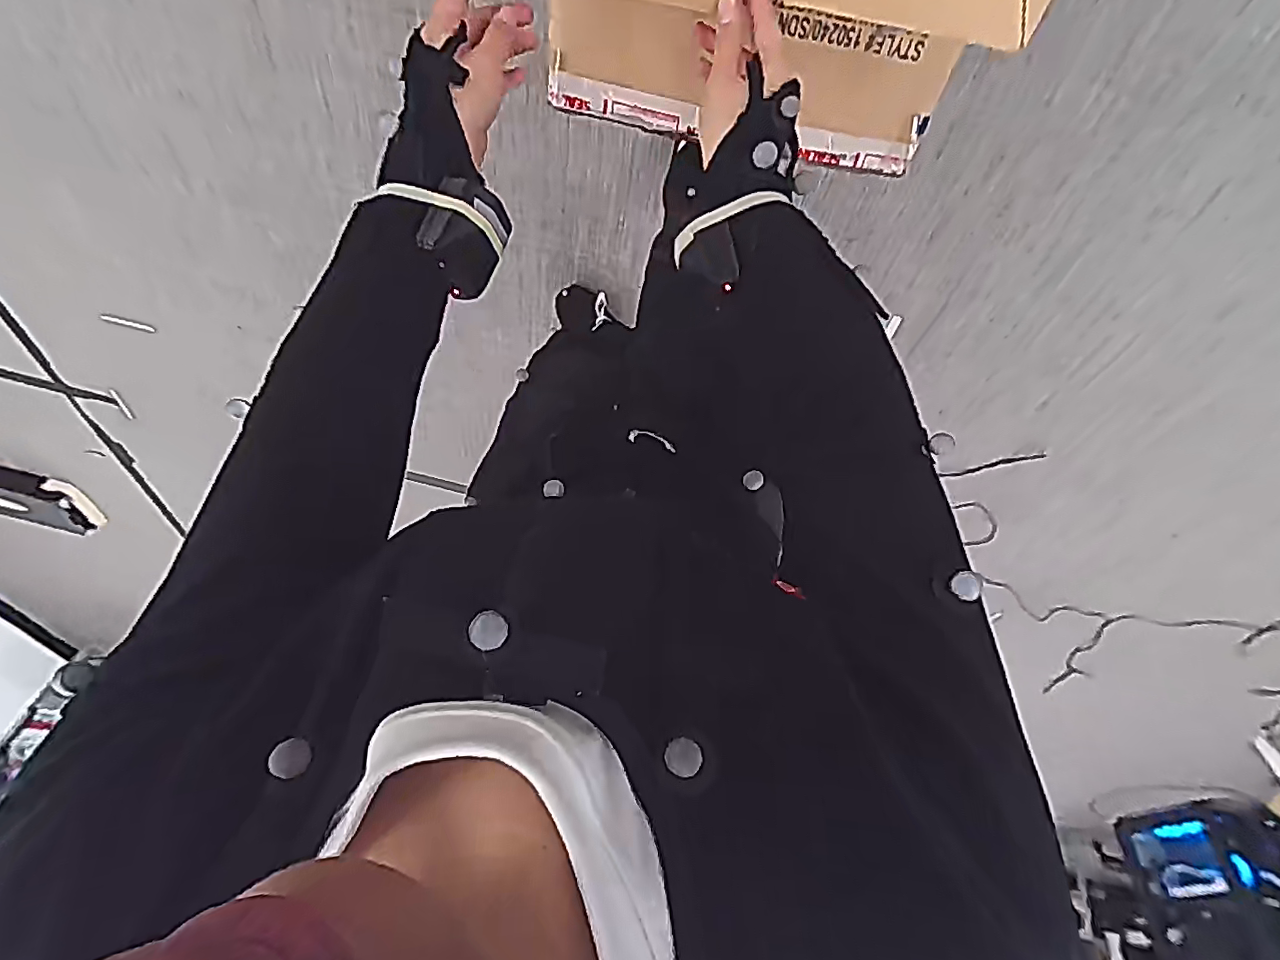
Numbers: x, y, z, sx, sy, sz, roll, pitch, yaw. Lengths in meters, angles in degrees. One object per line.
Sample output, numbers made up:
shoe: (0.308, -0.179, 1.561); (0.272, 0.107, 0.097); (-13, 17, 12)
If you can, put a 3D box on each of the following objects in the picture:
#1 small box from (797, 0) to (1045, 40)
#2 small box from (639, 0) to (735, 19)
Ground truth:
small box: (0.199, -0.416, 0.351); (0.168, 0.176, 0.179); (10, 139, -2)
small box: (0.008, -0.452, 0.363); (0.168, 0.176, 0.179); (13, 140, 2)
